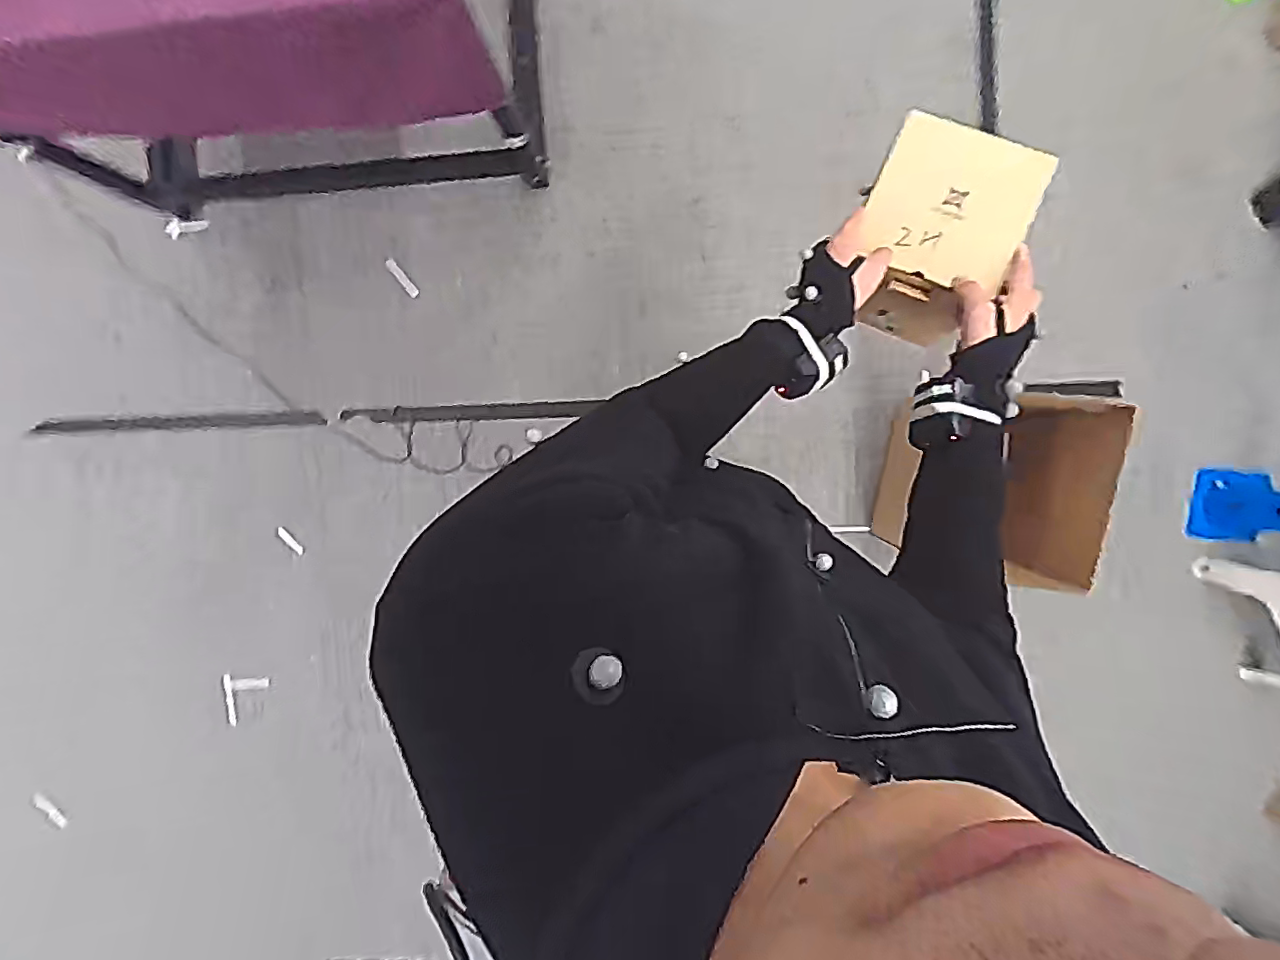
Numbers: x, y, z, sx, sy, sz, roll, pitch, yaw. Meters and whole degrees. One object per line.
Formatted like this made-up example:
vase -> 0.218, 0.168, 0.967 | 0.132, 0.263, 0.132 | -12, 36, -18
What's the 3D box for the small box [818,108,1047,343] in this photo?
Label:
small box -> 0.339, -0.297, 0.668 | 0.168, 0.176, 0.179 | 25, 91, 8
